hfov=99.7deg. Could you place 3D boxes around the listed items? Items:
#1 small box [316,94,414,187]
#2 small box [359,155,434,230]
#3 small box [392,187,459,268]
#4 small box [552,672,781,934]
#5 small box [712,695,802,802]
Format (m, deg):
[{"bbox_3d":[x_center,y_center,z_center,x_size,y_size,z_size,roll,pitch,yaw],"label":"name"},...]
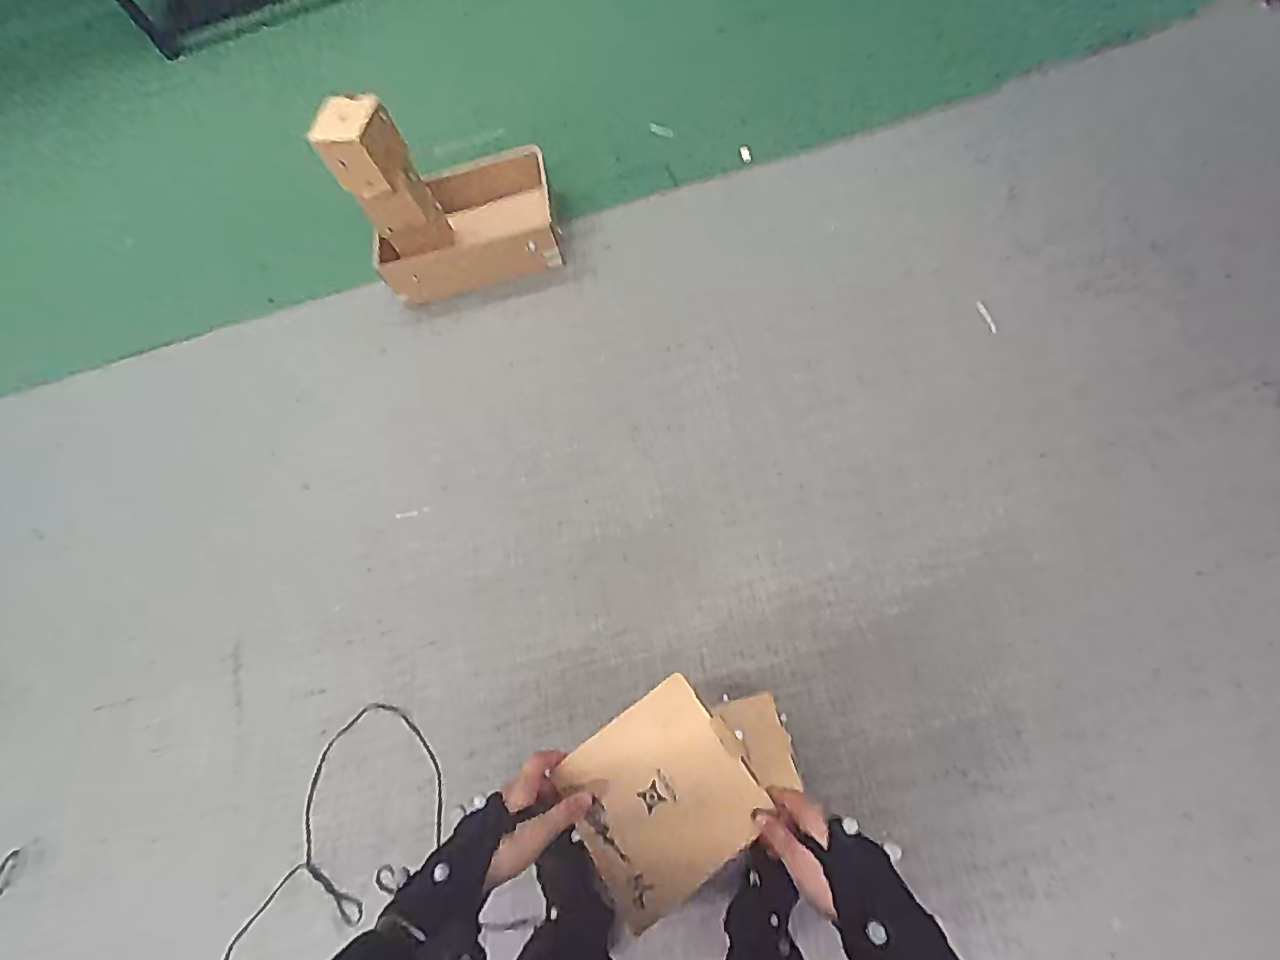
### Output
[{"bbox_3d":[-0.802,-0.996,1.597,0.168,0.176,0.179,7,67,12],"label":"small box"},{"bbox_3d":[-0.781,-0.937,1.748,0.168,0.176,0.179,-13,65,3],"label":"small box"},{"bbox_3d":[-0.752,-0.884,1.900,0.168,0.176,0.179,-15,65,3],"label":"small box"},{"bbox_3d":[0.032,0.345,0.608,0.179,0.176,0.168,-34,63,-8],"label":"small box"},{"bbox_3d":[0.182,0.506,1.004,0.179,0.176,0.168,-17,63,4],"label":"small box"}]
